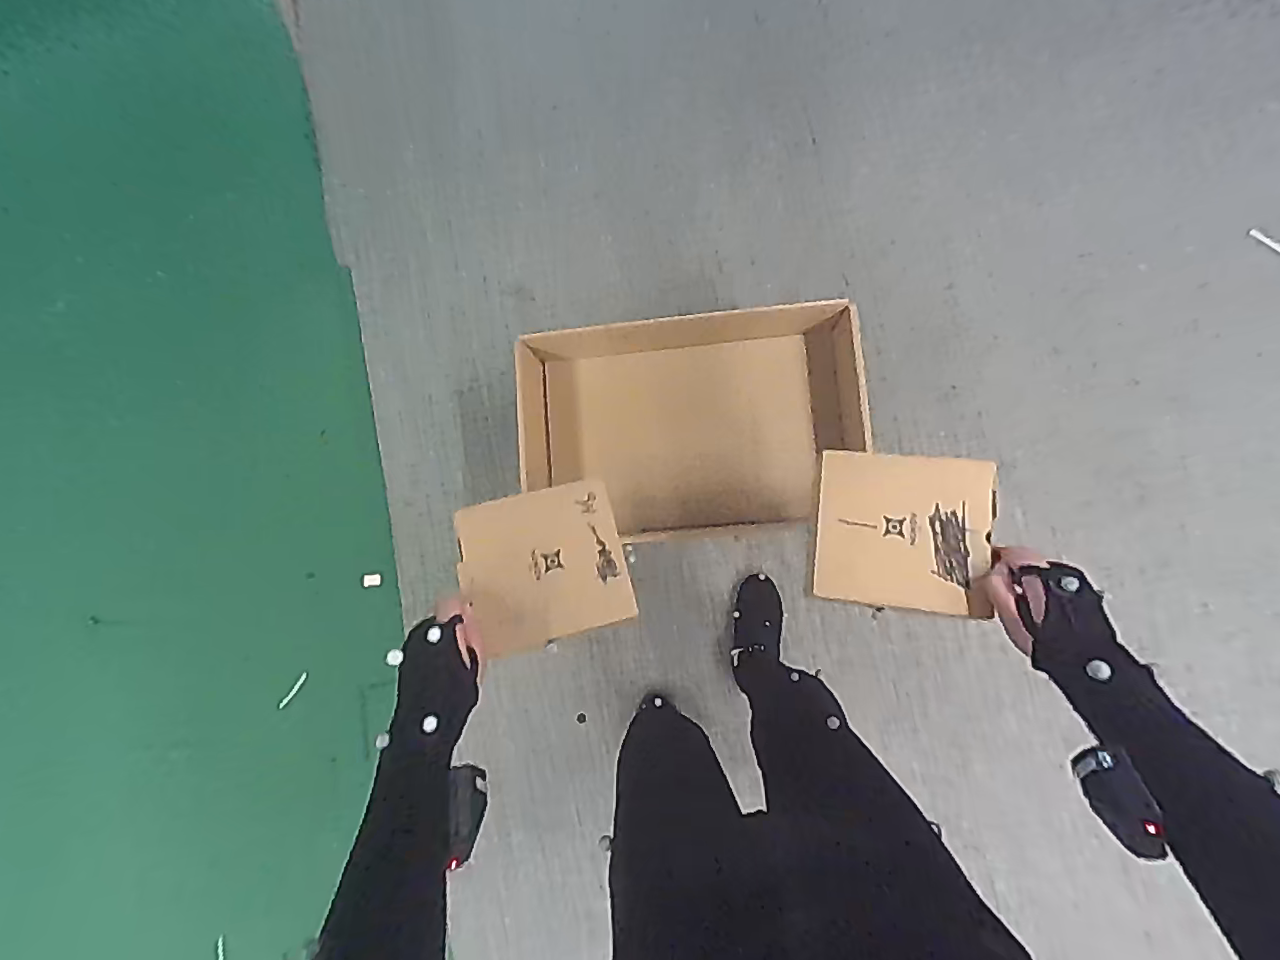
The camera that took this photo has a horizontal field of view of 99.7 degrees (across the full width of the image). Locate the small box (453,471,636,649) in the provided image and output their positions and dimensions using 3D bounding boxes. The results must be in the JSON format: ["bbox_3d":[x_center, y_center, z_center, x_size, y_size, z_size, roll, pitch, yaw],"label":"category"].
[{"bbox_3d":[-0.111,0.106,0.661,0.179,0.176,0.168,-12,74,-9],"label":"small box"}]

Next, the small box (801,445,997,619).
[{"bbox_3d":[0.292,0.066,0.641,0.179,0.176,0.168,5,78,15],"label":"small box"}]
